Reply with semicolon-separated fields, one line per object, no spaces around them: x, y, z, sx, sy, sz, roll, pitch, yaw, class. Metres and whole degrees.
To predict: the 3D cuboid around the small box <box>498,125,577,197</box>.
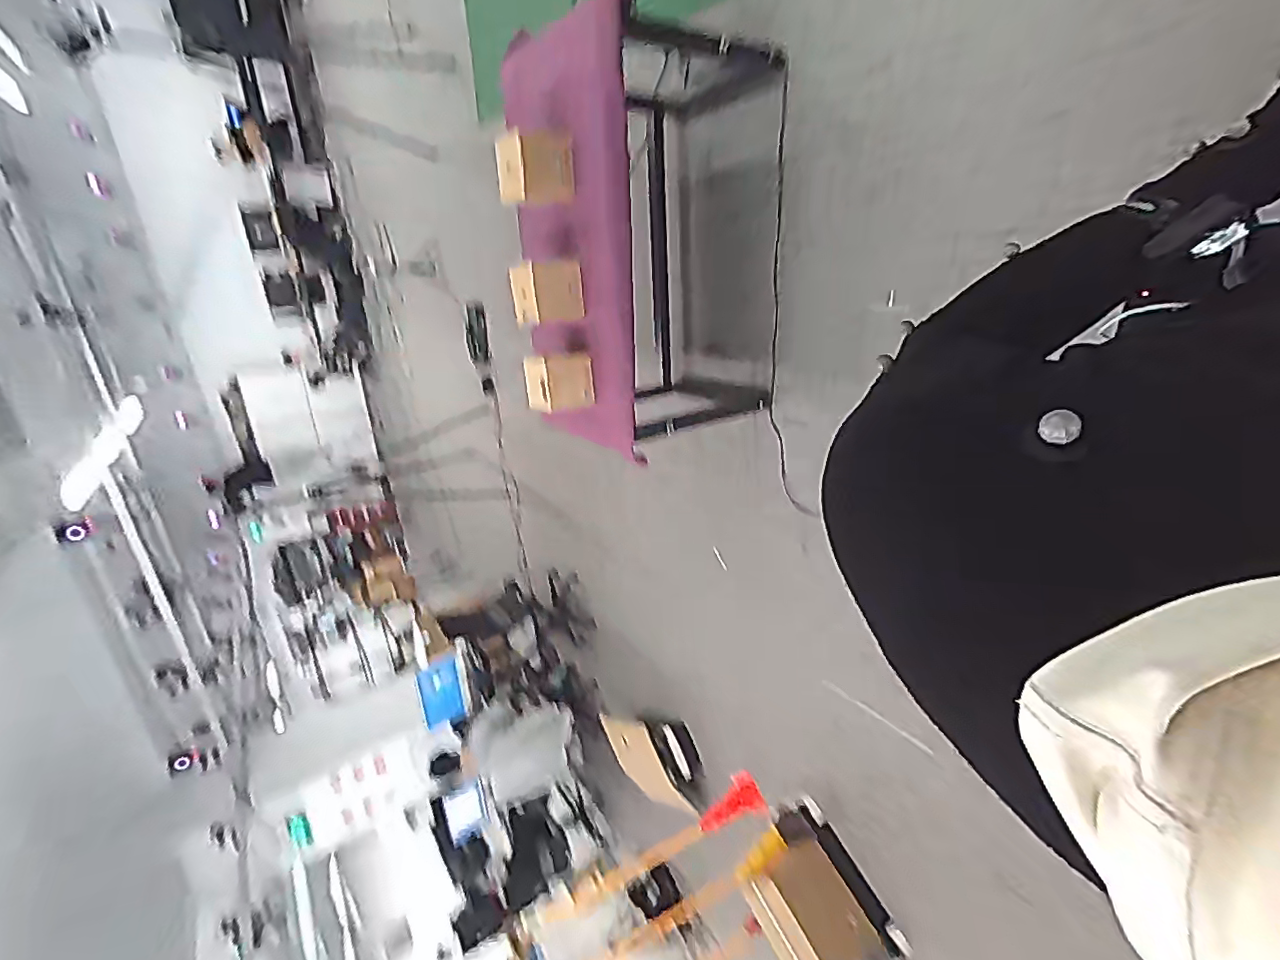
-0.303;-0.943;1.611;0.179;0.176;0.168;29;128;48;small box

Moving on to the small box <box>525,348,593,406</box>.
-0.267;-0.354;1.826;0.179;0.176;0.168;22;121;52;small box

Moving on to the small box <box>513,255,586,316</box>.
-0.288;-0.622;1.737;0.168;0.176;0.179;21;121;52;small box
